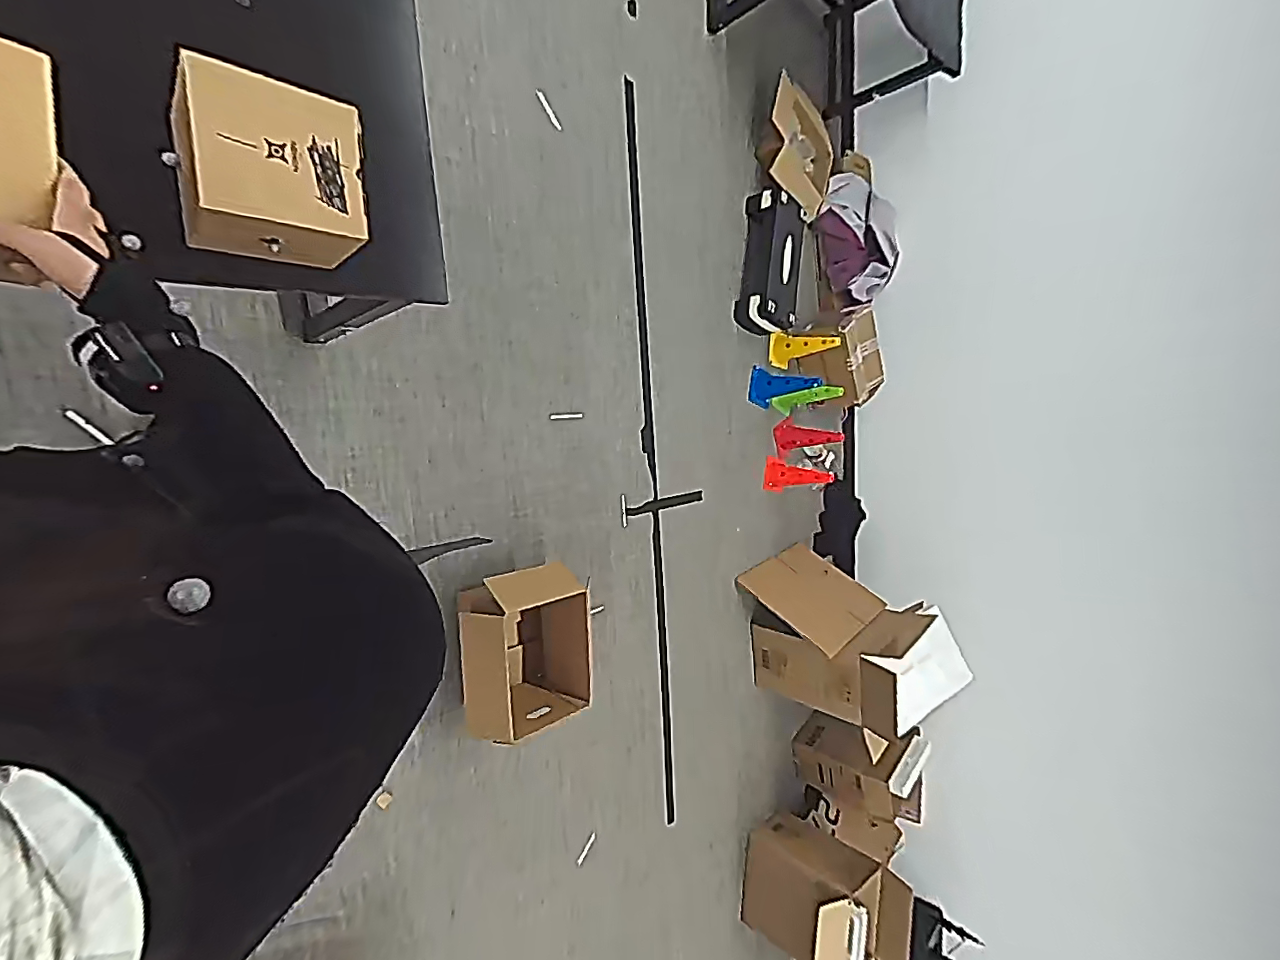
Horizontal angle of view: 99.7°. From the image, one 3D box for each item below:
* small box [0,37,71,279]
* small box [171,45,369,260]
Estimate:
[{"bbox_3d":[-0.608,-0.274,0.444,0.179,0.176,0.168,-6,98,-50],"label":"small box"},{"bbox_3d":[-0.473,-0.394,0.694,0.179,0.176,0.168,-8,98,-43],"label":"small box"}]
